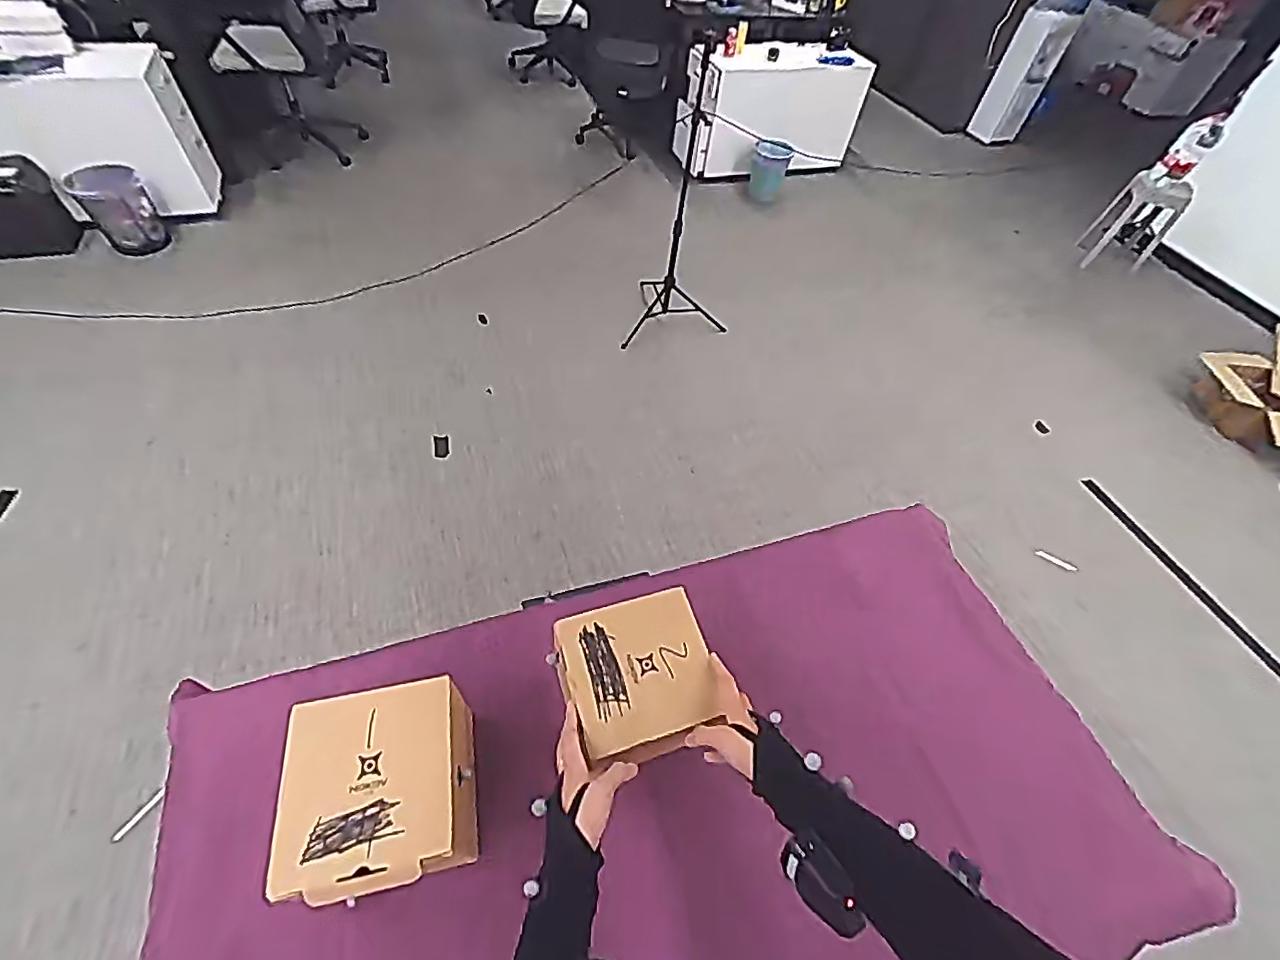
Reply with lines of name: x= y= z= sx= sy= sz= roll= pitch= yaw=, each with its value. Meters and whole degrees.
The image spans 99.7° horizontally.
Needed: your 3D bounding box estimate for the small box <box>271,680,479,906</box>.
small box: x=-0.281 y=0.352 z=0.614 sx=0.168 sy=0.176 sz=0.179 roll=-7 pitch=54 yaw=-12
